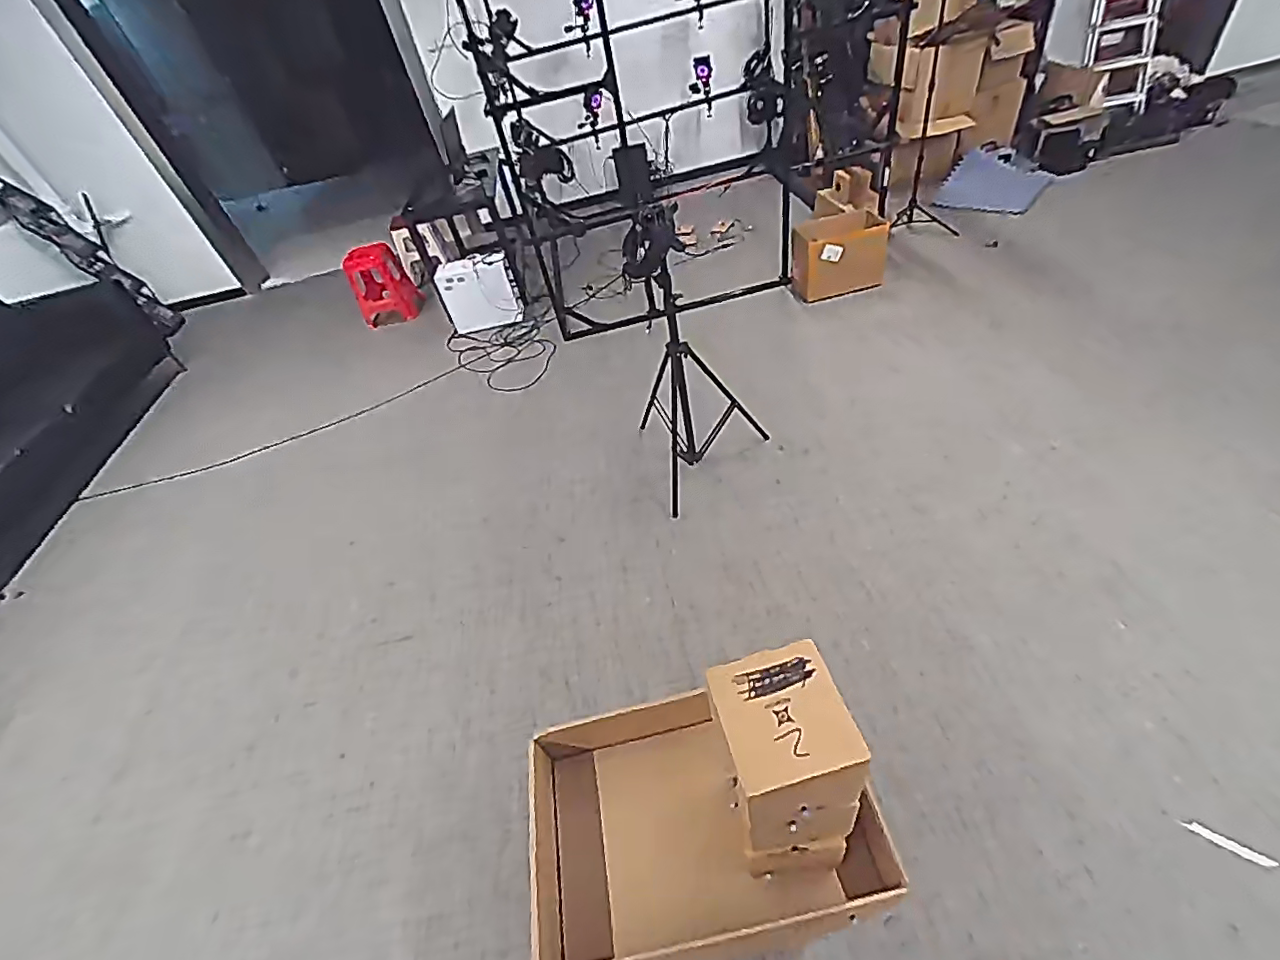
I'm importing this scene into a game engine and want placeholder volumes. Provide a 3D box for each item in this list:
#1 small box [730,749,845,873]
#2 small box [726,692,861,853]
[{"bbox_3d":[0.265,0.603,0.995,0.168,0.176,0.179,-9,43,4],"label":"small box"},{"bbox_3d":[0.242,0.480,0.889,0.168,0.176,0.179,-12,43,3],"label":"small box"}]
